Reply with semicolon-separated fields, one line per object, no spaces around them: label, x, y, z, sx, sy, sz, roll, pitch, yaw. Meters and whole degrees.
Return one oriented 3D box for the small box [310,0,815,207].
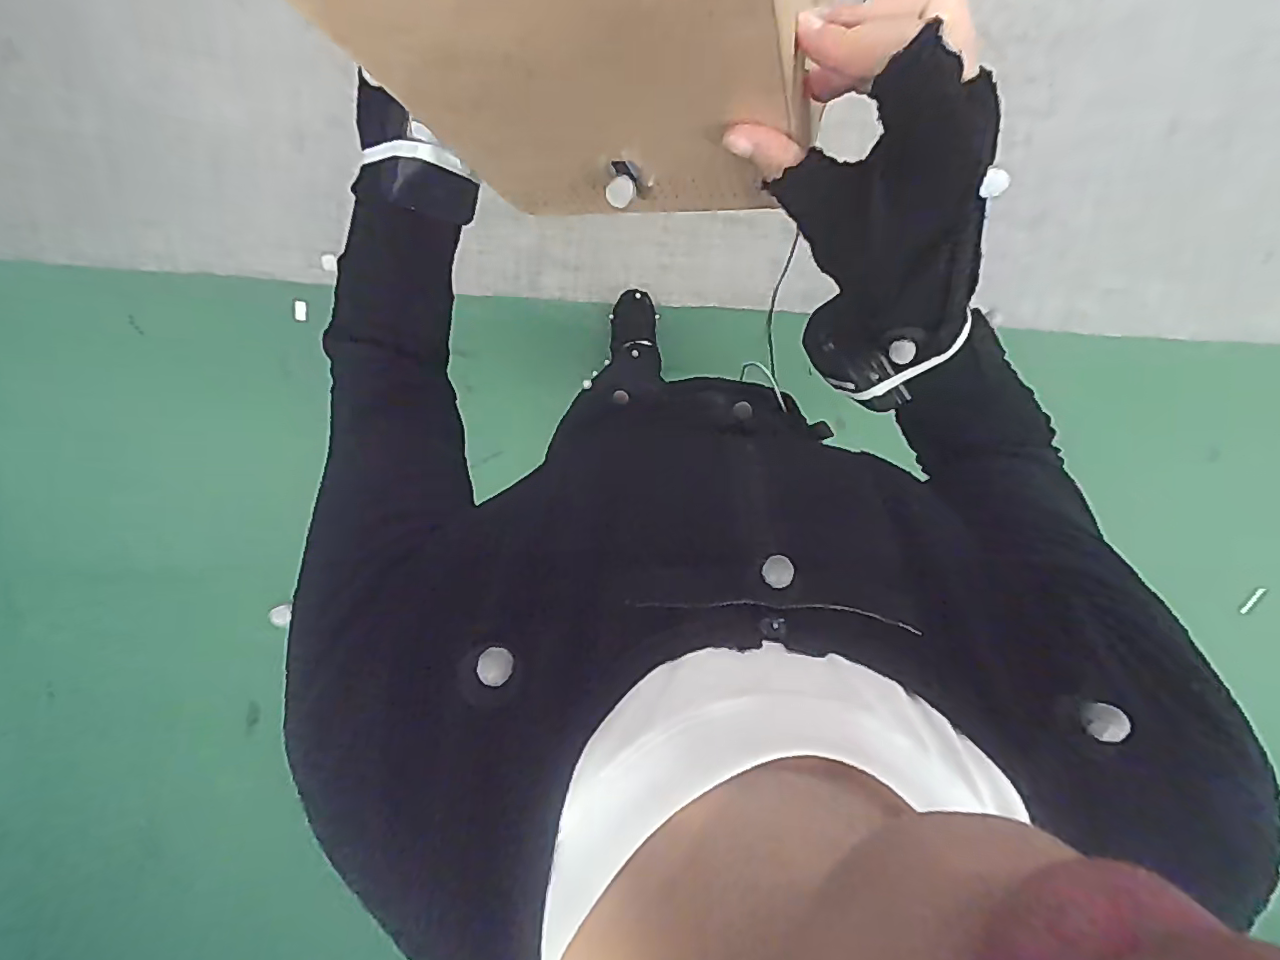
small box;-0.013;-0.248;0.247;0.179;0.176;0.168;9;89;21
